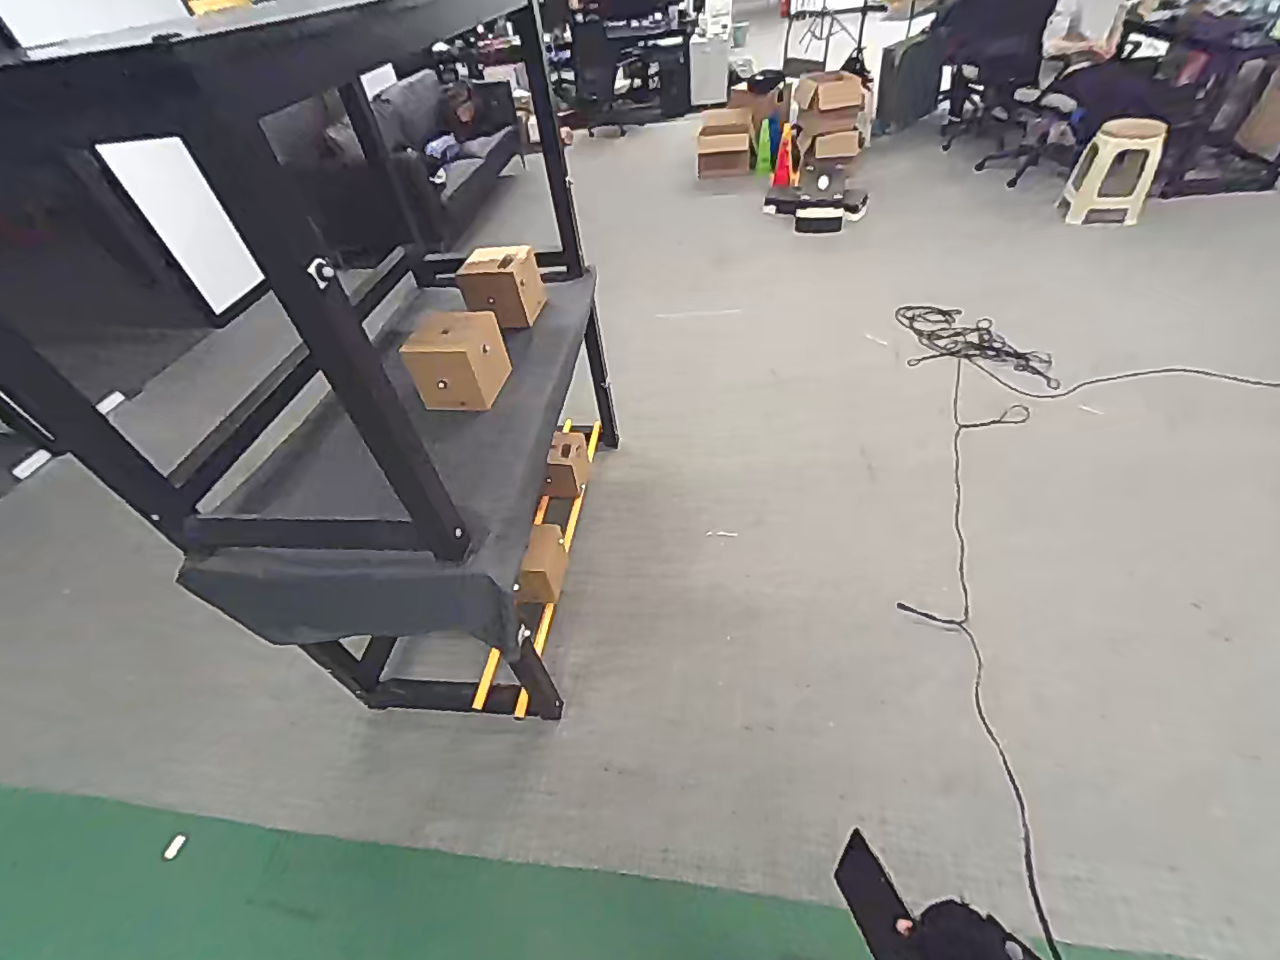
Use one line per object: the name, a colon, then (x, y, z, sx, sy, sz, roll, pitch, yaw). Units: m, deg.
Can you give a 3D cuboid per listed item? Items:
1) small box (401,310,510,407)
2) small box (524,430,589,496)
small box: (-0.431, -0.290, 1.301, 0.168, 0.176, 0.179, 3, 46, 11)
small box: (-0.289, -0.058, 1.932, 0.179, 0.176, 0.168, 3, 46, 11)
